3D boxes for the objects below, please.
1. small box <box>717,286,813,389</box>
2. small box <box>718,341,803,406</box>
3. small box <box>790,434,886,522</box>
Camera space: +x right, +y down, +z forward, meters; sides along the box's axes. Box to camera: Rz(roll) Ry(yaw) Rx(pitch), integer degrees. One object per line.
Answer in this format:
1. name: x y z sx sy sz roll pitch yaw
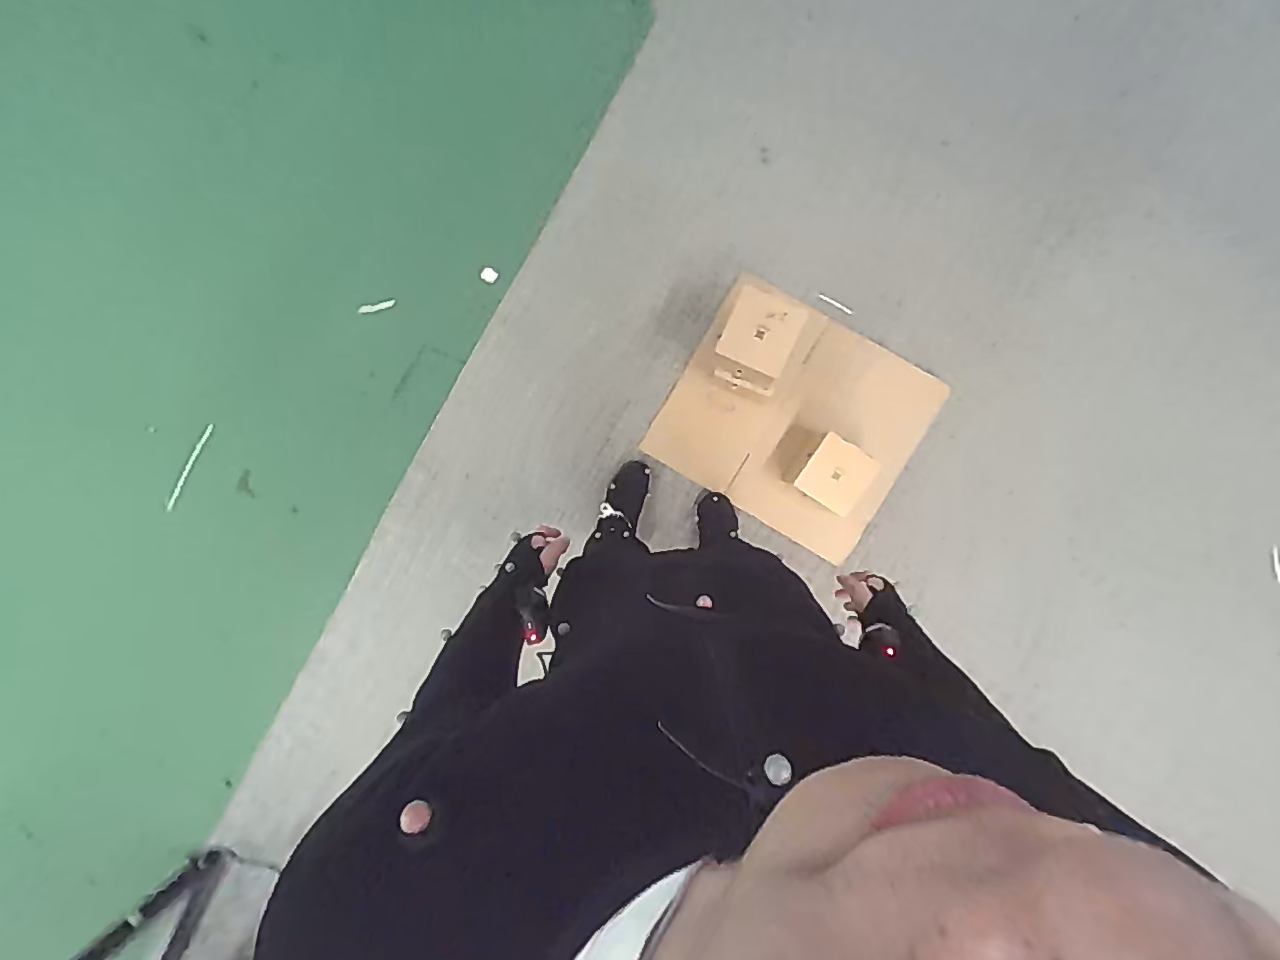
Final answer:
1. small box: 0.298 -0.339 1.330 0.168 0.176 0.179 26 93 3
2. small box: 0.322 -0.320 1.494 0.168 0.176 0.179 25 93 4
3. small box: 0.531 -0.006 1.480 0.168 0.176 0.179 34 93 4
